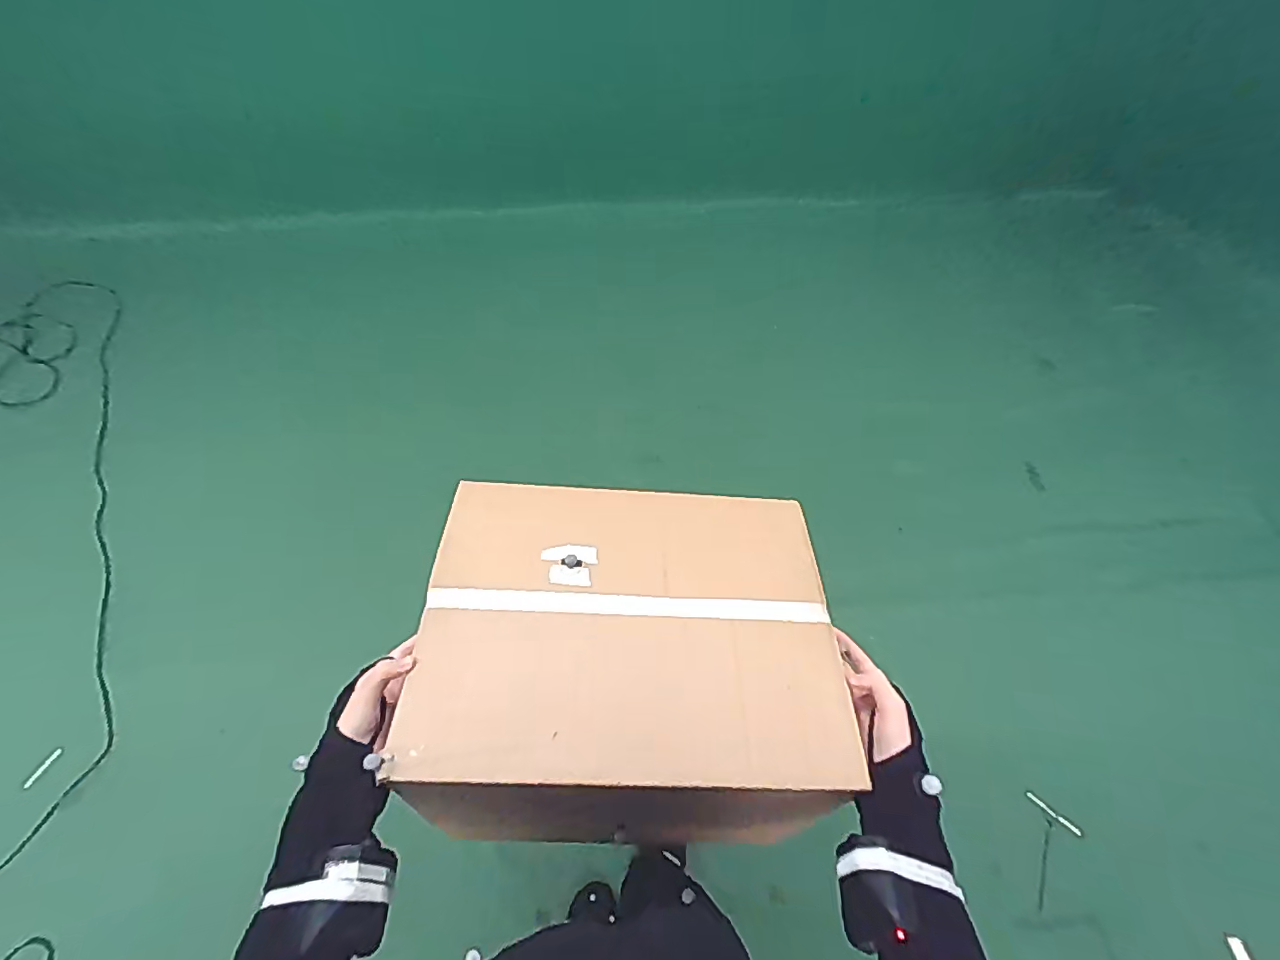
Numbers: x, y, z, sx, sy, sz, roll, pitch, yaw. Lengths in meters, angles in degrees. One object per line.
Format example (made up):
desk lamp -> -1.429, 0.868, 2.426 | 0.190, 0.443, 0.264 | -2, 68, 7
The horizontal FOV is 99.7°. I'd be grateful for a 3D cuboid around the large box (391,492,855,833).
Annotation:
large box -> -0.020, 0.233, 0.665 | 0.408, 0.320, 0.320 | 3, 48, -4
